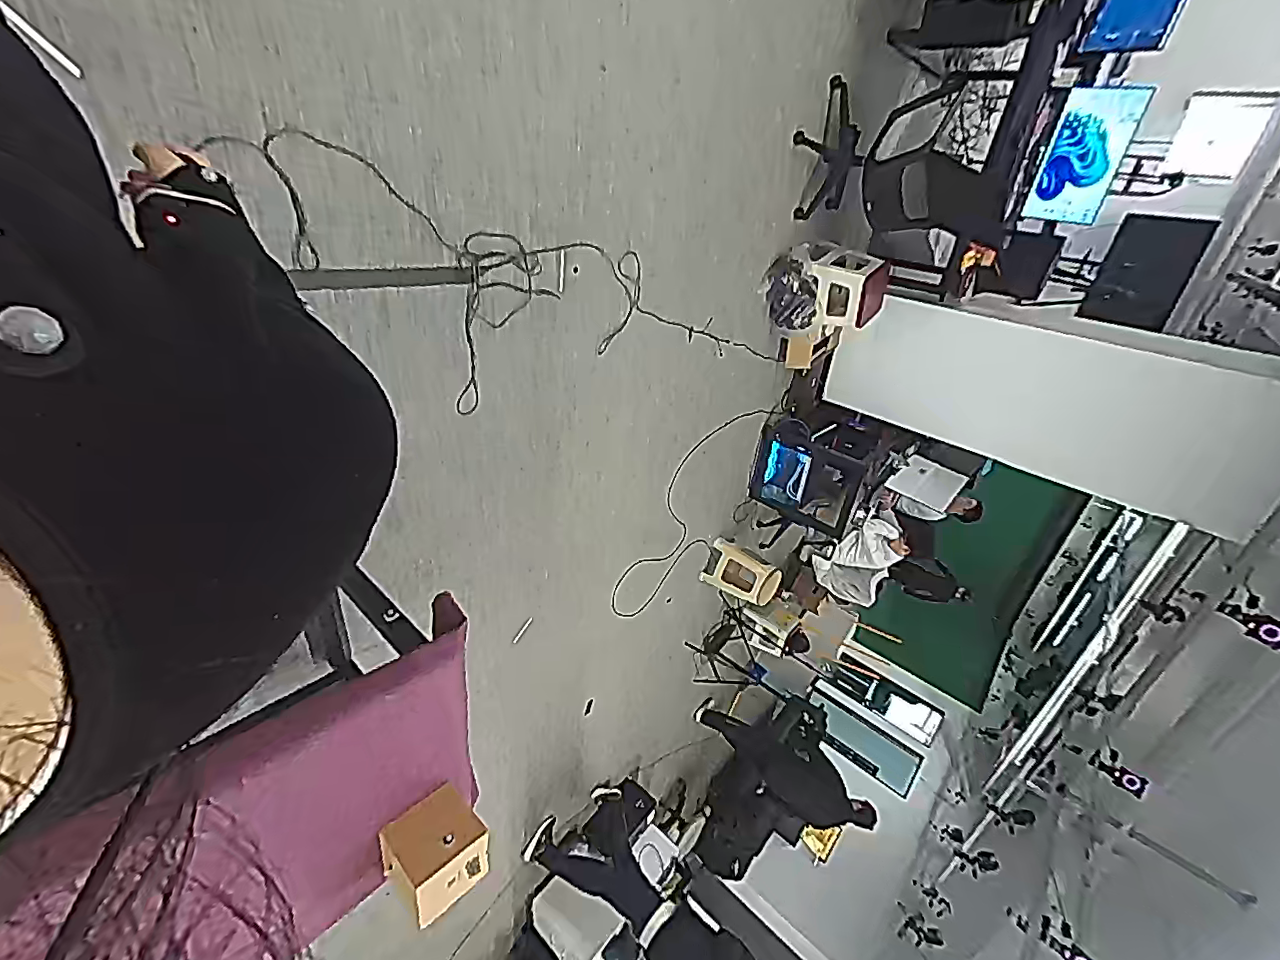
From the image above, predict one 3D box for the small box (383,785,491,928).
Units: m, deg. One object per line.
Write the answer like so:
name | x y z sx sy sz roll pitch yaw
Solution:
small box | -0.467 0.859 1.252 0.179 0.176 0.168 -21 128 -45
